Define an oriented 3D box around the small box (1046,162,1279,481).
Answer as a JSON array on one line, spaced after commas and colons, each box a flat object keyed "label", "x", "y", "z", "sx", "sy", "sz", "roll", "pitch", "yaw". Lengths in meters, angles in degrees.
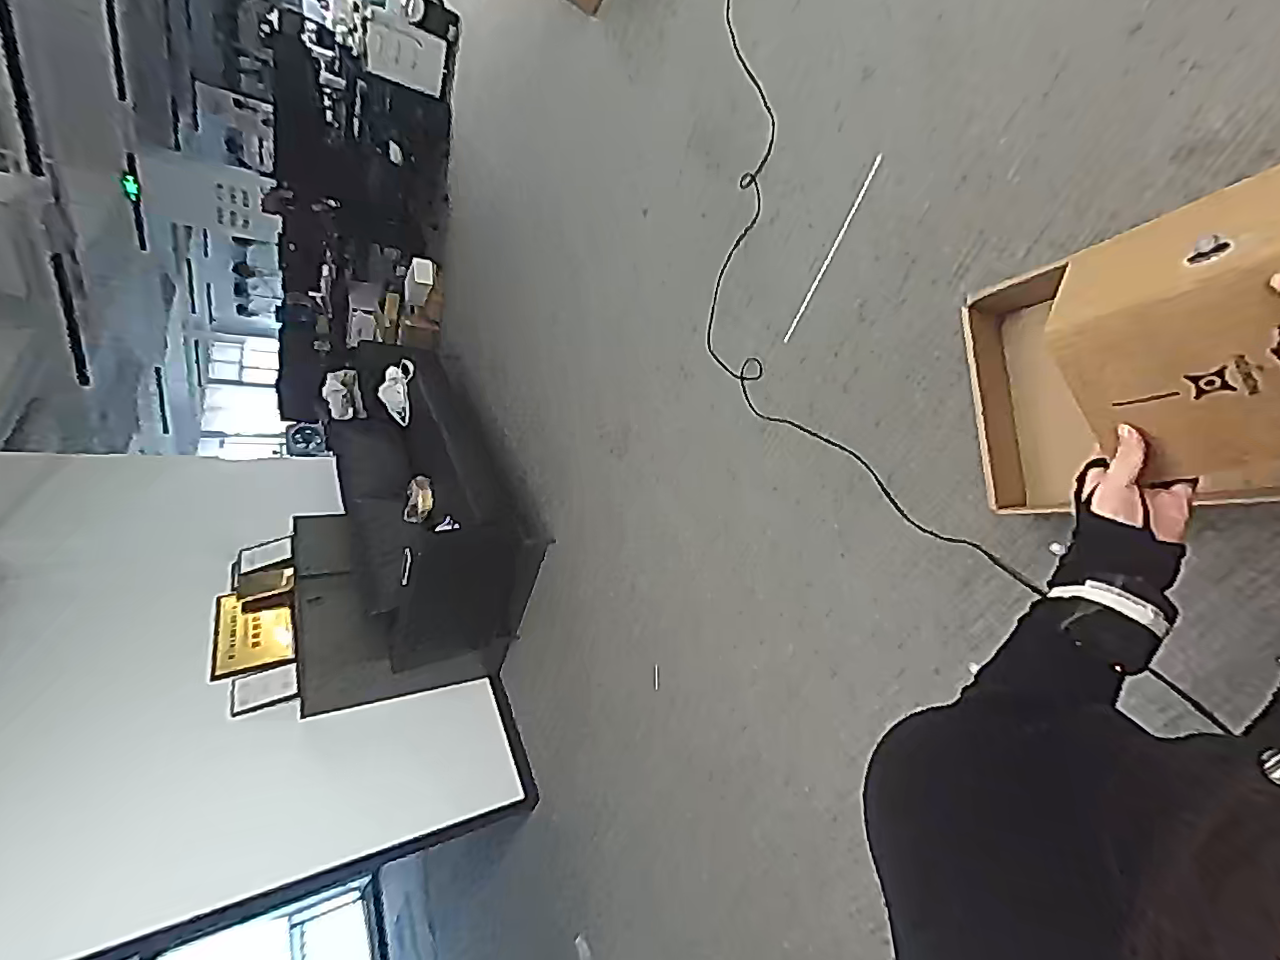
[{"label": "small box", "x": 0.470, "y": -0.126, "z": 0.432, "sx": 0.168, "sy": 0.176, "sz": 0.179, "roll": 51, "pitch": 148, "yaw": -14}]
